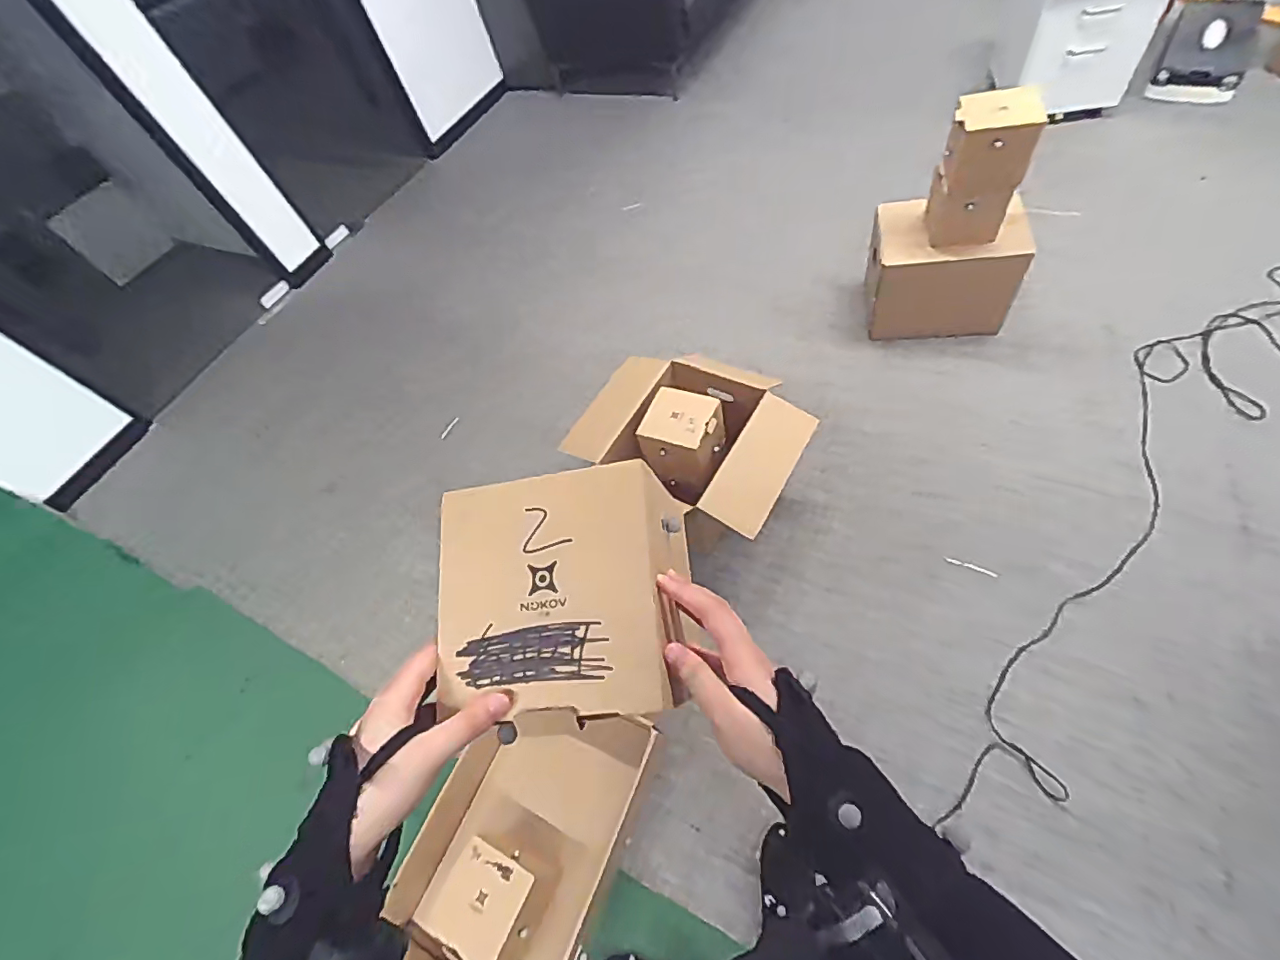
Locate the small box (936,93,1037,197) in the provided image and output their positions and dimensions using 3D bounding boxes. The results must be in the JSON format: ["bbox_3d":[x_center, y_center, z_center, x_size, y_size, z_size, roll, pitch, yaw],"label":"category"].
[{"bbox_3d":[0.911,-0.884,1.439,0.179,0.176,0.168,1,60,16],"label":"small box"}]

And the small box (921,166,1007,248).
[{"bbox_3d":[0.934,-0.800,1.577,0.179,0.176,0.168,1,59,15],"label":"small box"}]

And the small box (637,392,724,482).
[{"bbox_3d":[0.118,-0.114,1.483,0.179,0.176,0.168,16,65,23],"label":"small box"}]

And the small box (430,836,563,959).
[{"bbox_3d":[-0.282,0.866,1.109,0.168,0.176,0.179,16,62,25],"label":"small box"}]
